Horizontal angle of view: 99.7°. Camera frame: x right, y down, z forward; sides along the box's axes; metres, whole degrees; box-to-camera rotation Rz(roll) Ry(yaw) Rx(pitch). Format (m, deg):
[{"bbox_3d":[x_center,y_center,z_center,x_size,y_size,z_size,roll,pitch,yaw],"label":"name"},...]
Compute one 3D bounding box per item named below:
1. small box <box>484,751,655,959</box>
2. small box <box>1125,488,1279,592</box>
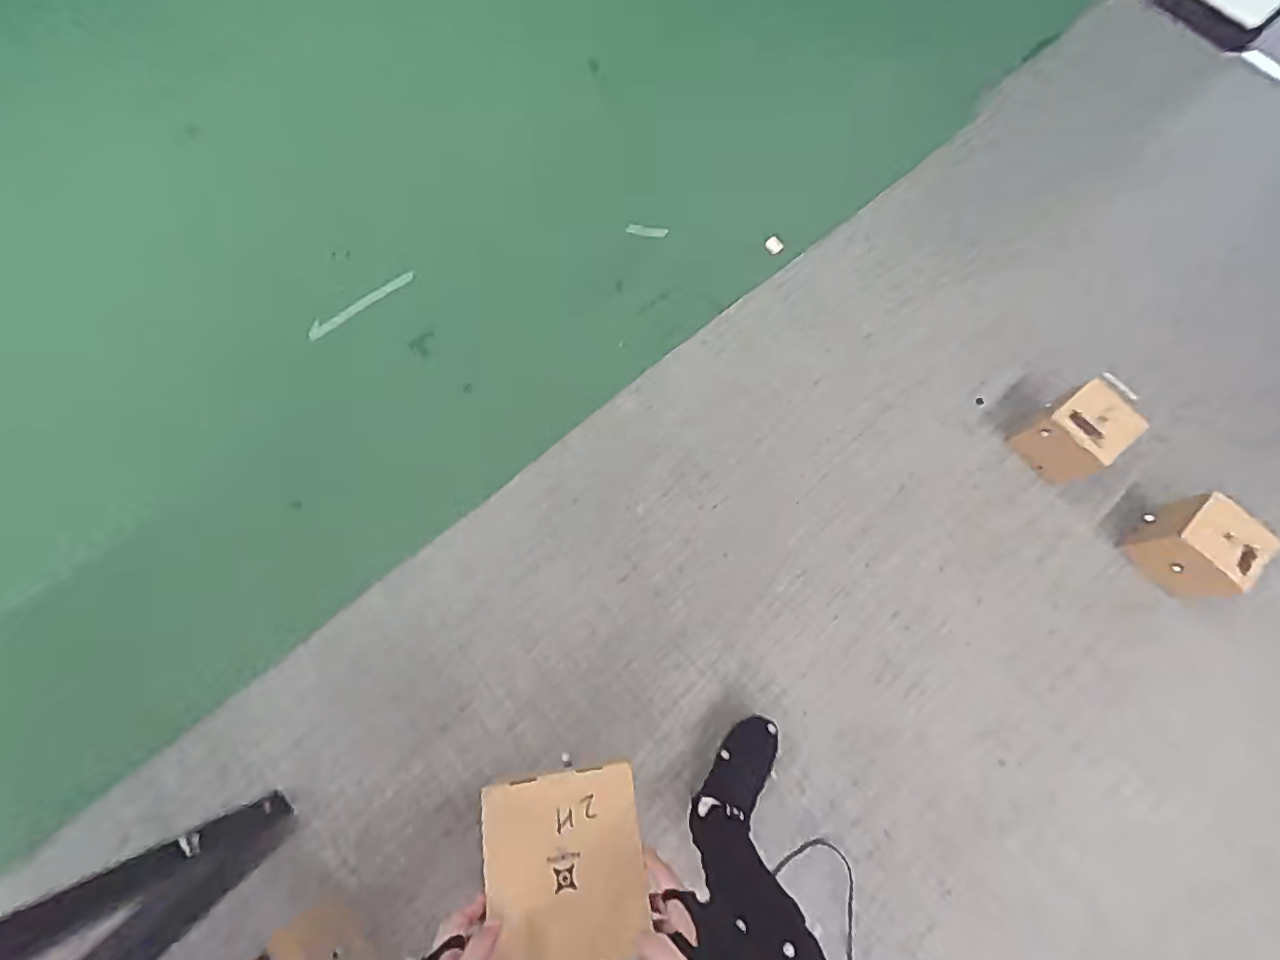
[{"bbox_3d":[-0.076,0.424,0.622,0.168,0.176,0.179,-7,66,-5],"label":"small box"},{"bbox_3d":[1.325,0.149,1.274,0.168,0.176,0.179,-41,78,-13],"label":"small box"}]
